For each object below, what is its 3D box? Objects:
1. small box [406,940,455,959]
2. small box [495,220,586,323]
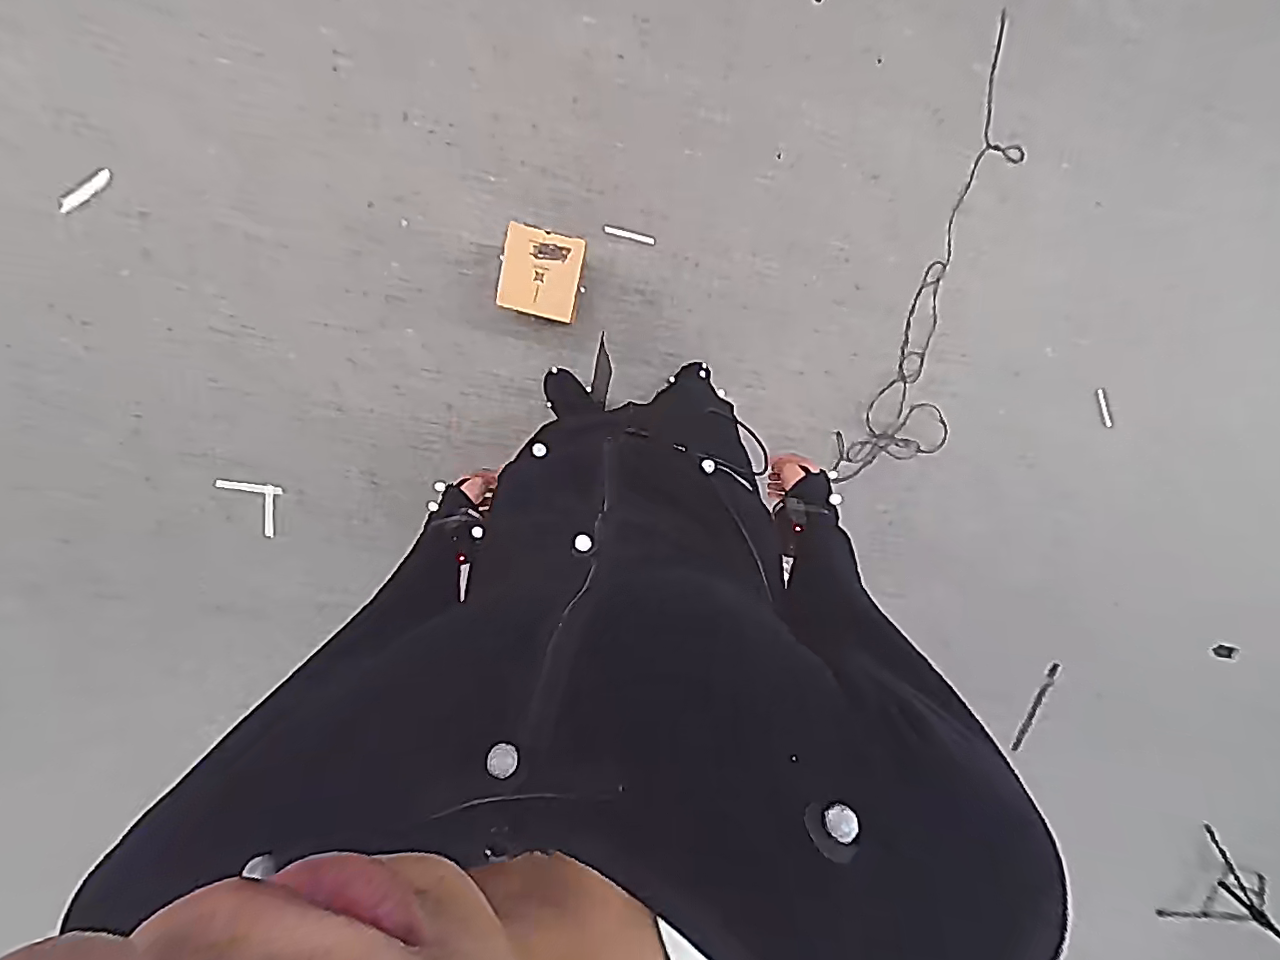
[{"bbox_3d":[-0.776,1.826,1.964,0.168,0.176,0.179,5,105,-8],"label":"small box"},{"bbox_3d":[-0.222,-0.465,1.232,0.168,0.176,0.179,12,105,-9],"label":"small box"}]
